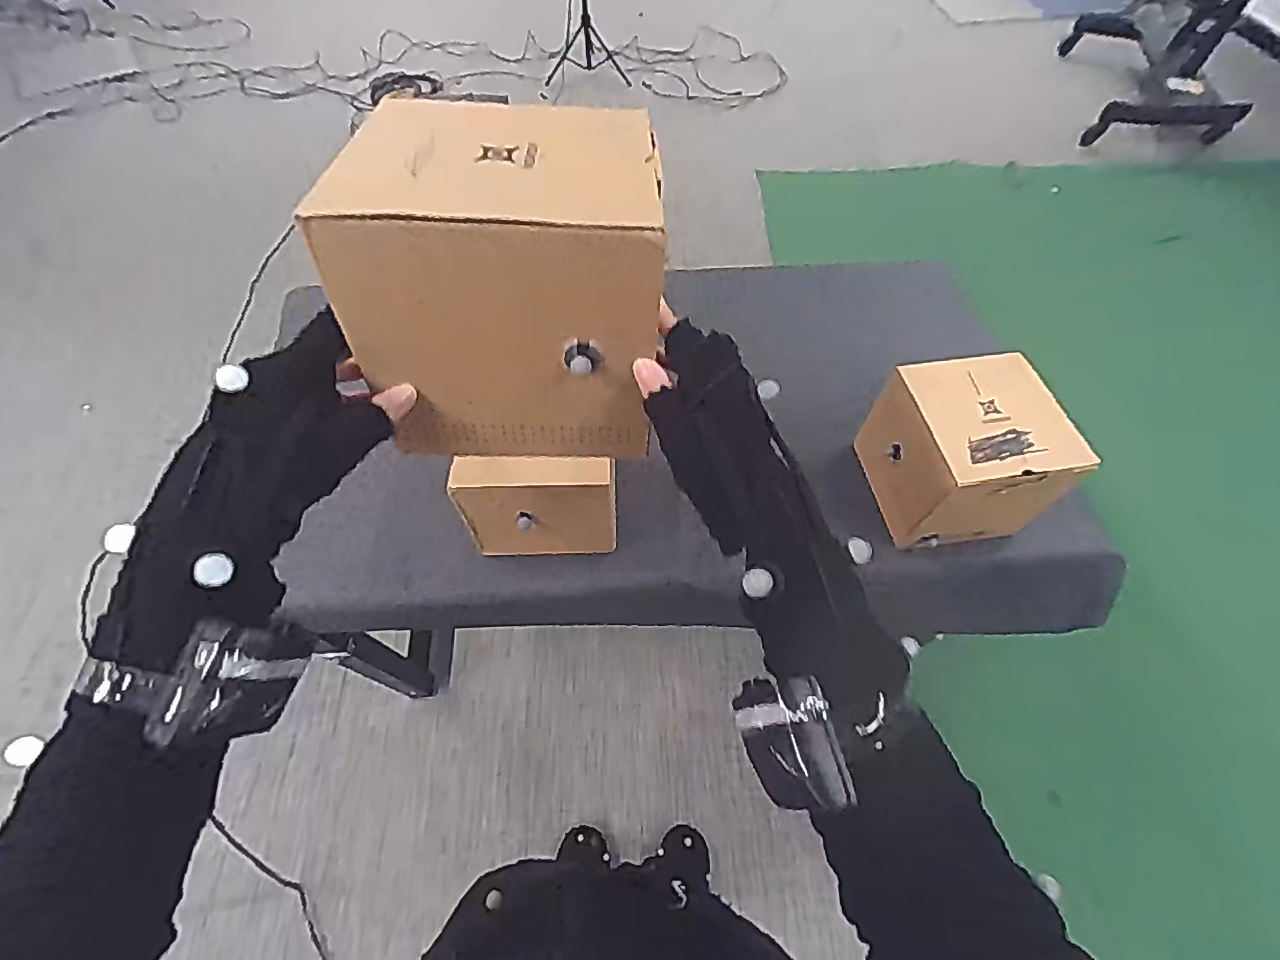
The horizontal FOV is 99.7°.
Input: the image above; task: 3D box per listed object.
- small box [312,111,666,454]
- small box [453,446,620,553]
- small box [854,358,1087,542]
[{"bbox_3d":[-0.079,-0.131,0.379,0.179,0.176,0.168,0,50,-3],"label":"small box"},{"bbox_3d":[-0.118,-0.014,0.698,0.179,0.176,0.168,-2,57,-1],"label":"small box"},{"bbox_3d":[0.407,-0.031,0.704,0.168,0.176,0.179,-7,57,-3],"label":"small box"}]
